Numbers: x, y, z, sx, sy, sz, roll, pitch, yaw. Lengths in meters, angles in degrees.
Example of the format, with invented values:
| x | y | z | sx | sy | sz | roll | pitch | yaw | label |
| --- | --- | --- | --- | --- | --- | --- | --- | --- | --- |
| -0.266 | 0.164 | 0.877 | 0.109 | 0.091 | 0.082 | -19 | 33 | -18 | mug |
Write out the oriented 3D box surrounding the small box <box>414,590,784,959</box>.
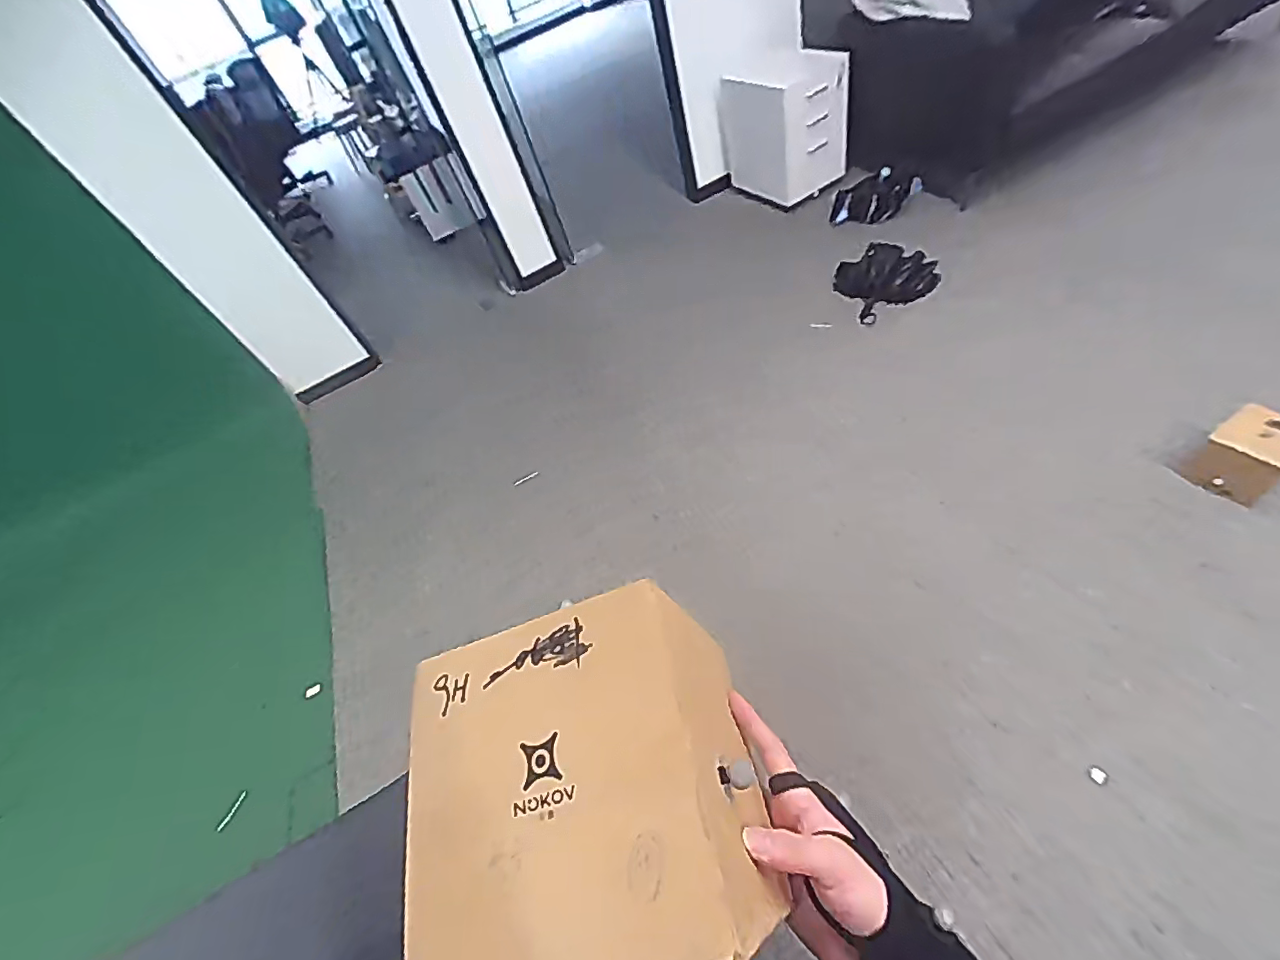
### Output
| x | y | z | sx | sy | sz | roll | pitch | yaw | label |
| --- | --- | --- | --- | --- | --- | --- | --- | --- | --- |
| -0.019 | 0.198 | 0.349 | 0.168 | 0.176 | 0.179 | -21 | 55 | 11 | small box |

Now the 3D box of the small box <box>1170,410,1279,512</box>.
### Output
| x | y | z | sx | sy | sz | roll | pitch | yaw | label |
| --- | --- | --- | --- | --- | --- | --- | --- | --- | --- |
| 1.603 | -0.050 | 1.460 | 0.179 | 0.176 | 0.168 | -35 | 49 | -10 | small box |
